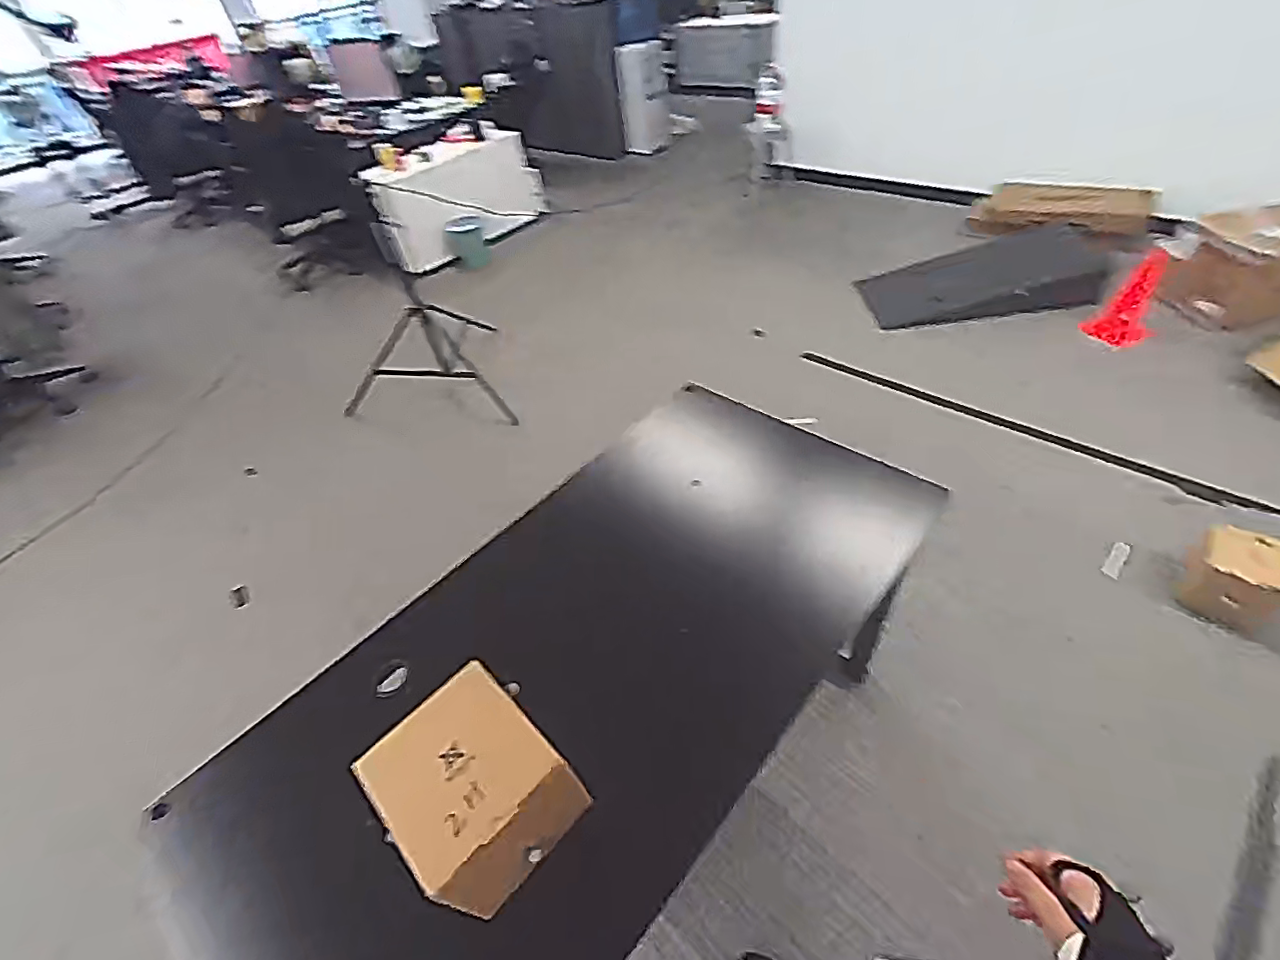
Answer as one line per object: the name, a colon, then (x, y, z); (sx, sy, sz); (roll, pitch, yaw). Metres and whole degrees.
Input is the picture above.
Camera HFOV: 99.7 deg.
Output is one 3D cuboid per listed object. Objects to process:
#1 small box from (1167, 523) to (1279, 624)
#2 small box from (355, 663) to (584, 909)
small box: (1.578, 0.254, 1.461); (0.168, 0.176, 0.179); (24, 55, 29)
small box: (-0.192, 0.364, 0.643); (0.179, 0.176, 0.168); (32, 59, 33)
